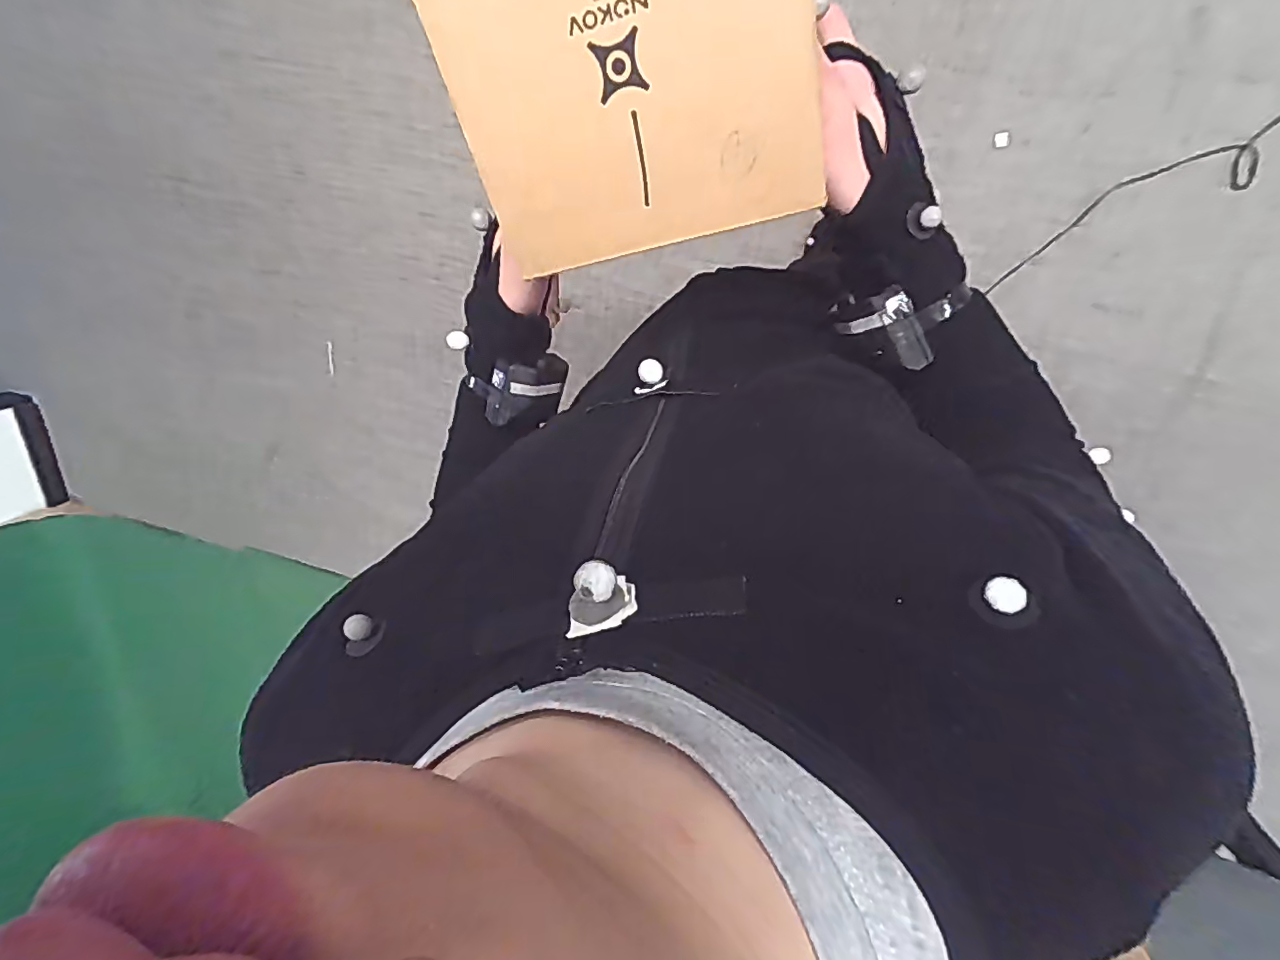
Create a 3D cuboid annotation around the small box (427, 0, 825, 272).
[{"bbox_3d":[0.002,-0.241,0.300,0.168,0.176,0.179,-7,126,14],"label":"small box"}]
